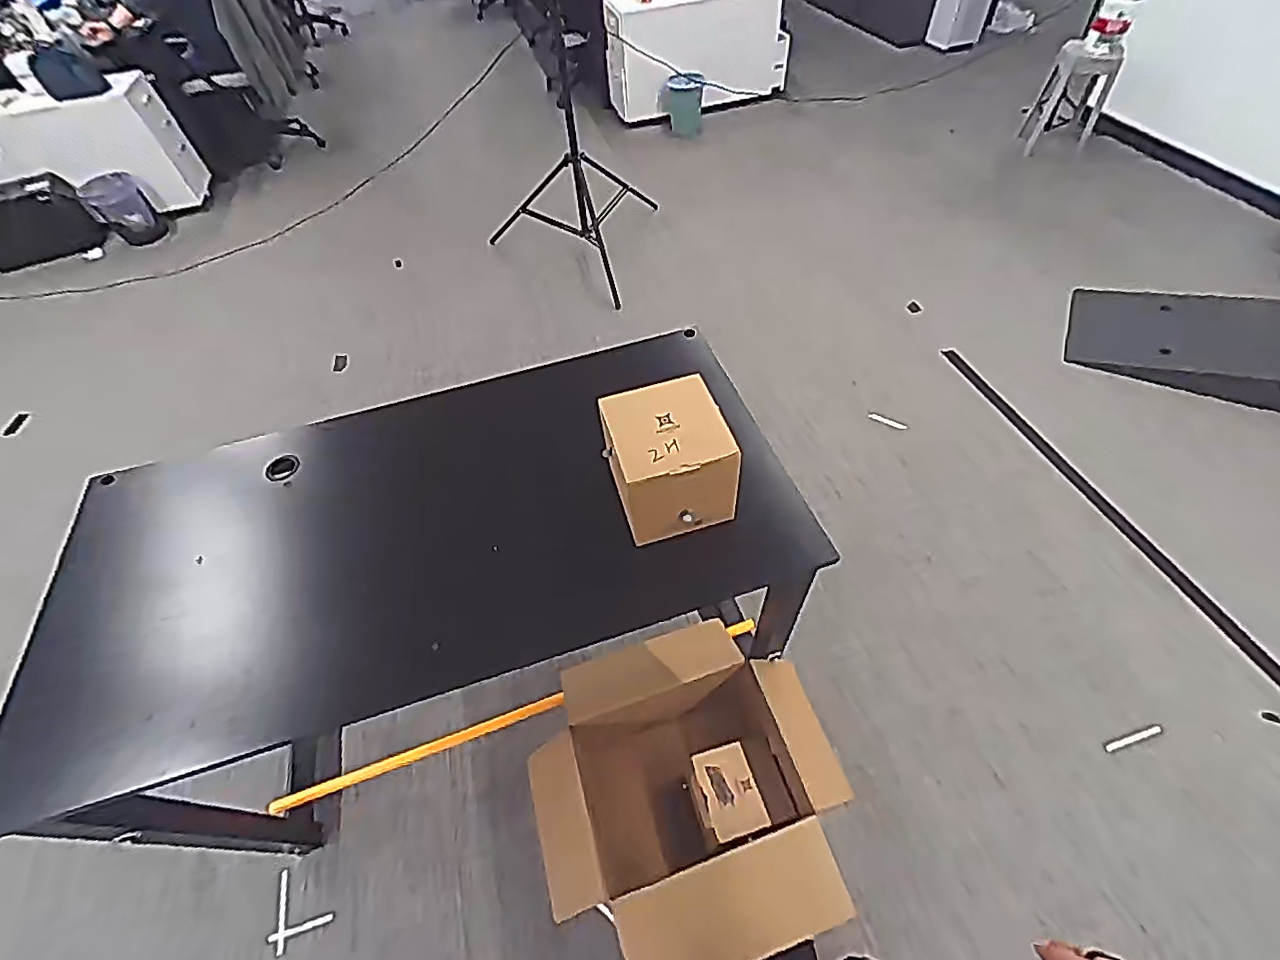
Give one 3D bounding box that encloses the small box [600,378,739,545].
[{"bbox_3d":[0.042,-0.027,0.846,0.168,0.176,0.179,-15,53,-6],"label":"small box"}]
